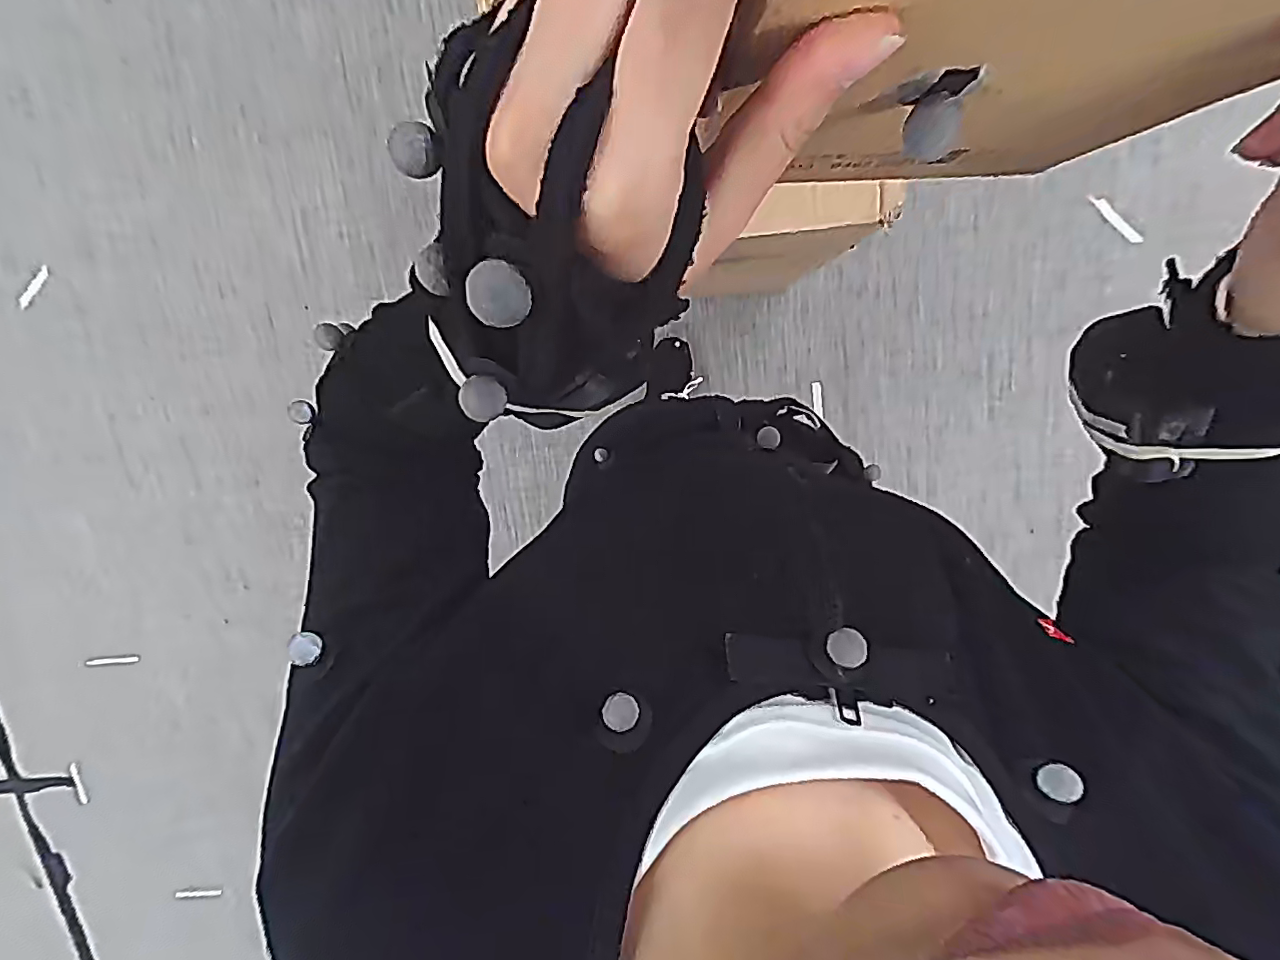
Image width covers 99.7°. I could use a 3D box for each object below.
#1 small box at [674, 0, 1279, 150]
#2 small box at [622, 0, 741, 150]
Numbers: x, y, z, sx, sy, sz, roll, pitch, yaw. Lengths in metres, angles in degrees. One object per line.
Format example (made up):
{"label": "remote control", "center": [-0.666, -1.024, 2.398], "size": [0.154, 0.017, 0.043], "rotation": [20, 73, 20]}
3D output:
{"label": "small box", "center": [0.097, -0.201, 0.133], "size": [0.168, 0.176, 0.179], "rotation": [-4, 103, -2]}
{"label": "small box", "center": [0.072, -0.477, 0.580], "size": [0.179, 0.176, 0.168], "rotation": [-3, 102, 2]}
